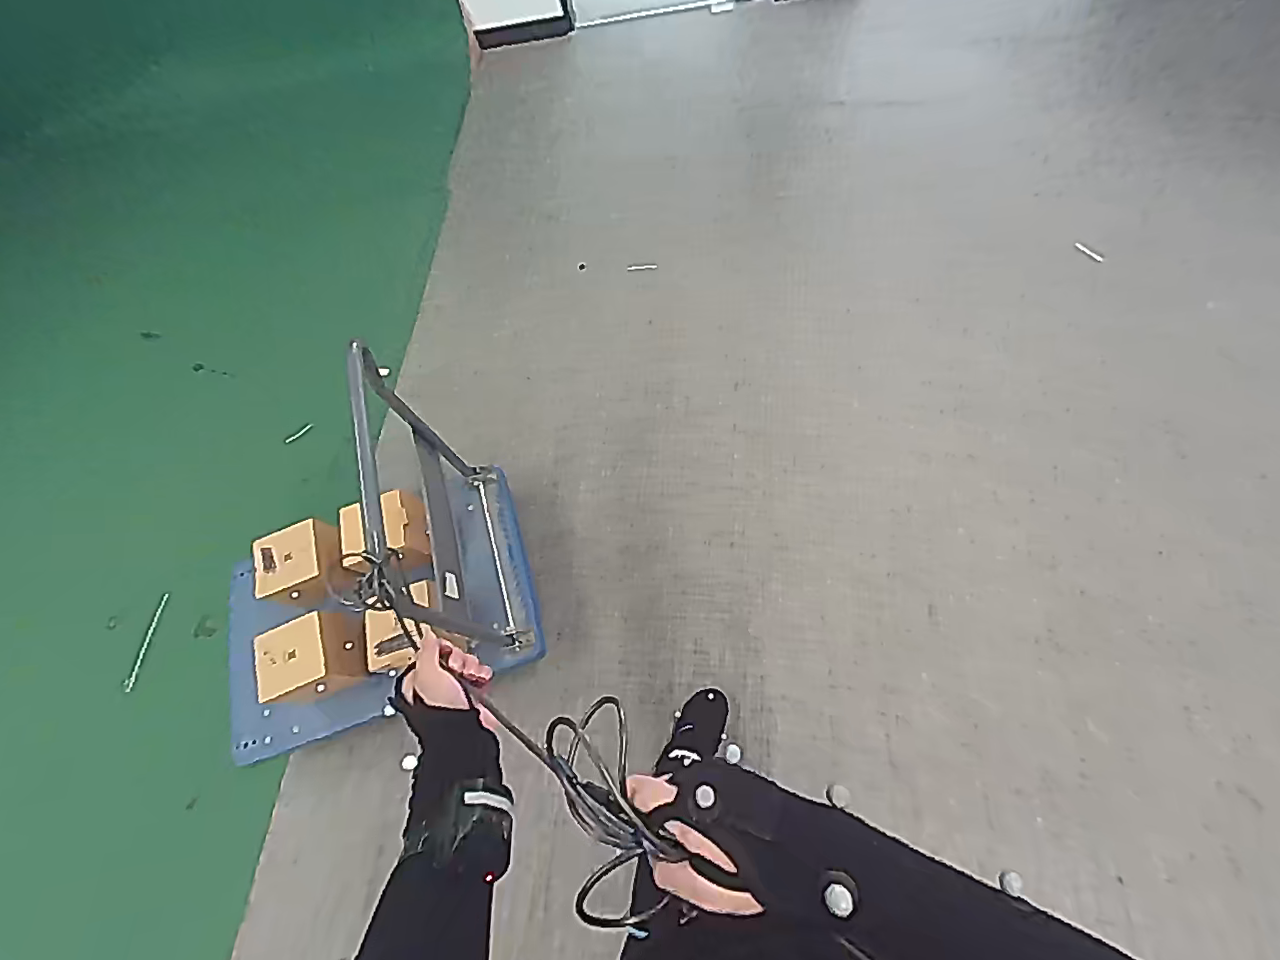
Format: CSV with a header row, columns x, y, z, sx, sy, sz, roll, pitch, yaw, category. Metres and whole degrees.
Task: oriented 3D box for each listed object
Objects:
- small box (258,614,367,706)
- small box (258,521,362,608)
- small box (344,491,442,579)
x,y,z,sx,sy,sz,roll,pitch,yaw,category
-0.820,0.457,1.372,0.179,0.176,0.168,-24,65,1,small box
-0.898,0.236,1.475,0.179,0.176,0.168,-22,67,1,small box
-0.667,0.156,1.465,0.179,0.176,0.168,-19,66,3,small box
